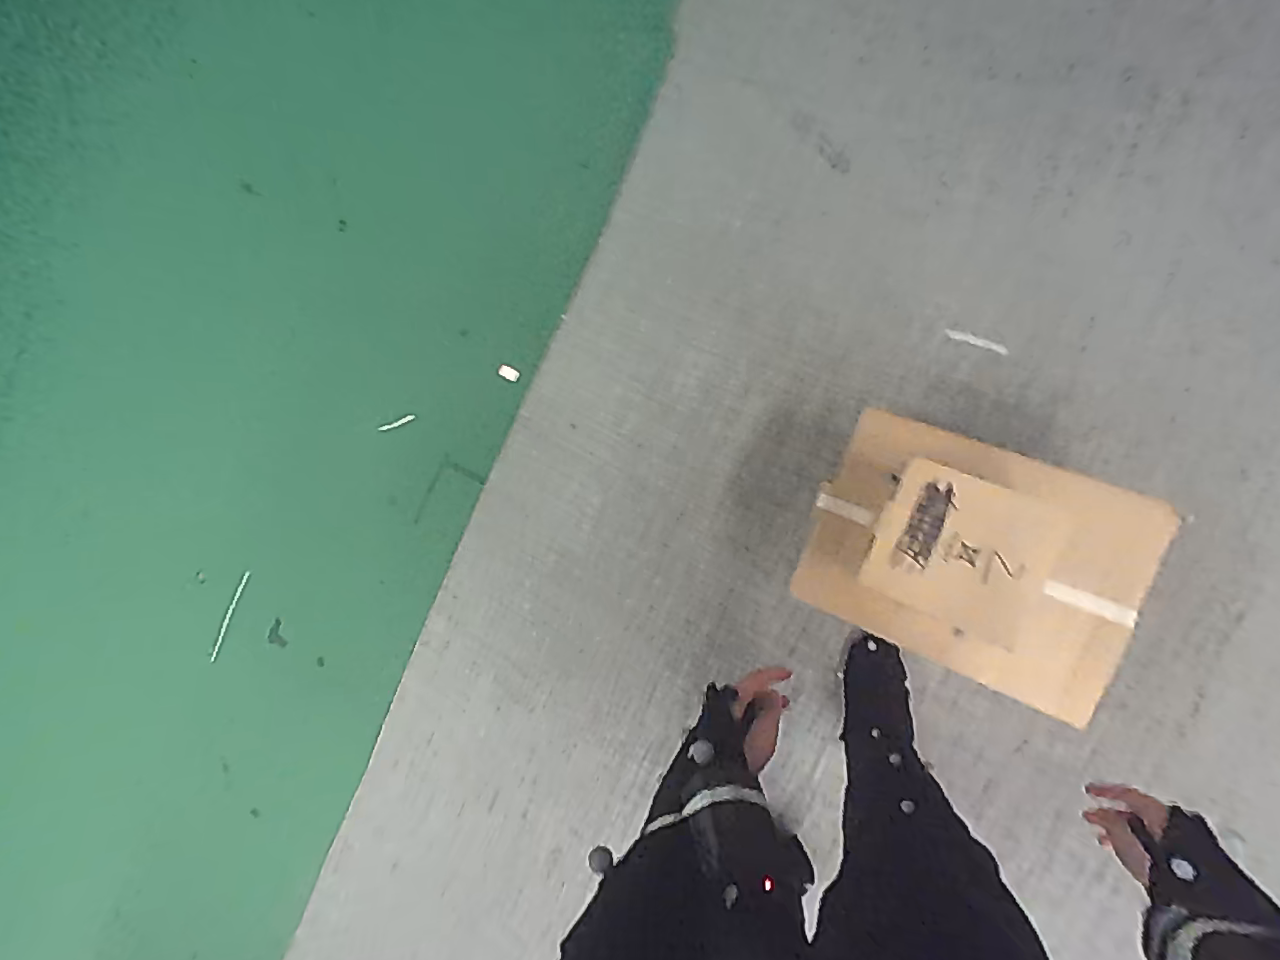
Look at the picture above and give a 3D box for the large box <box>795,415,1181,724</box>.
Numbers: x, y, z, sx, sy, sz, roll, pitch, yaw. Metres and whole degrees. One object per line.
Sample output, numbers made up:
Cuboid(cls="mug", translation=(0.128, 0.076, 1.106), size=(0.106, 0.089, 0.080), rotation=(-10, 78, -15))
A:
Cuboid(cls="large box", translation=(0.508, 0.122, 0.898), size=(0.408, 0.320, 0.320), rotation=(23, 94, 19))
